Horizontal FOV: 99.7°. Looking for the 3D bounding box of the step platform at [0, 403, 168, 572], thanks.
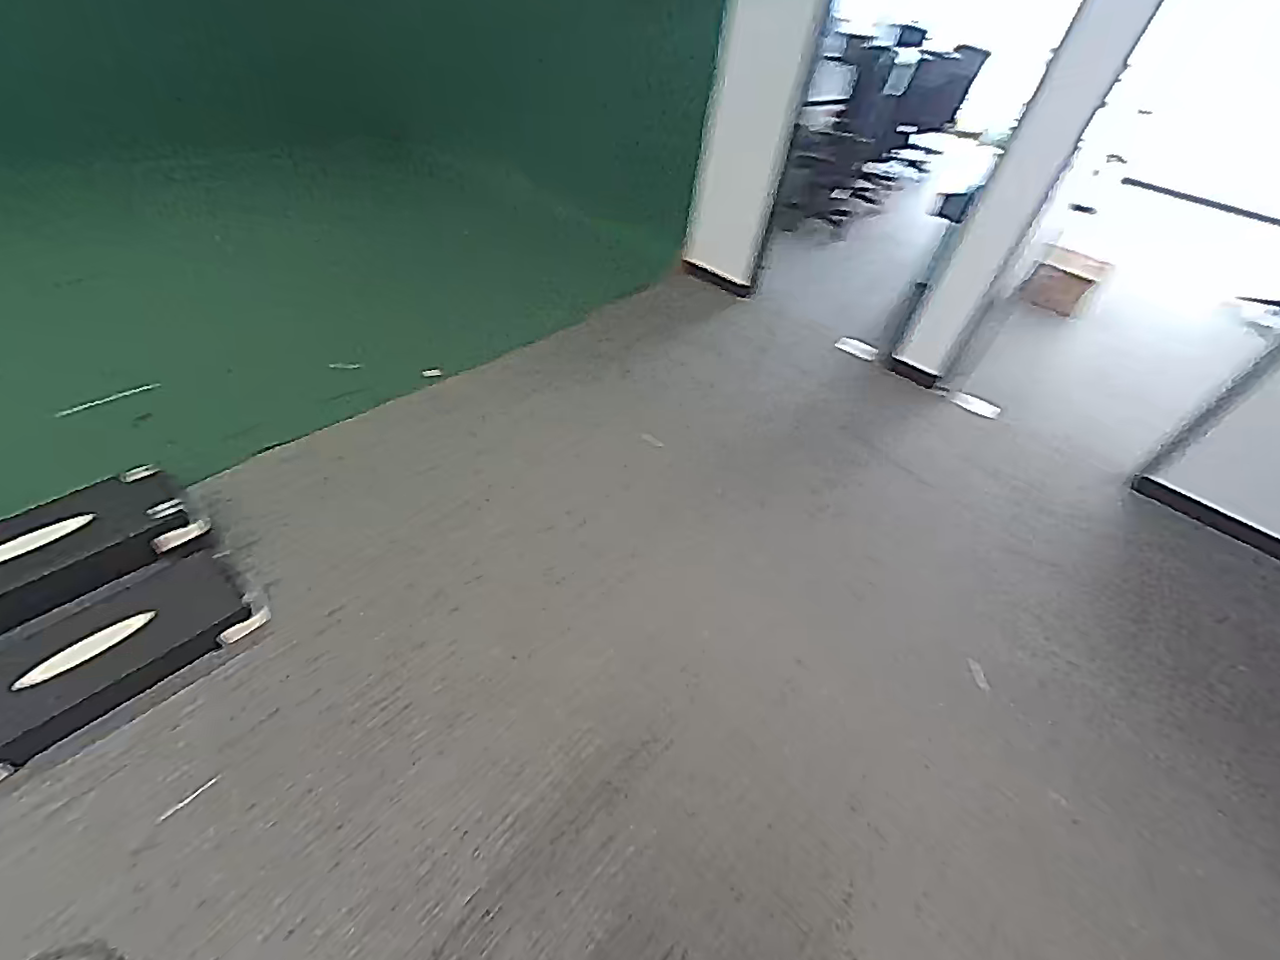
[{"bbox_3d":[-1.616,0.071,1.329,0.286,0.204,0.684,37,52,24],"label":"step platform"}]
